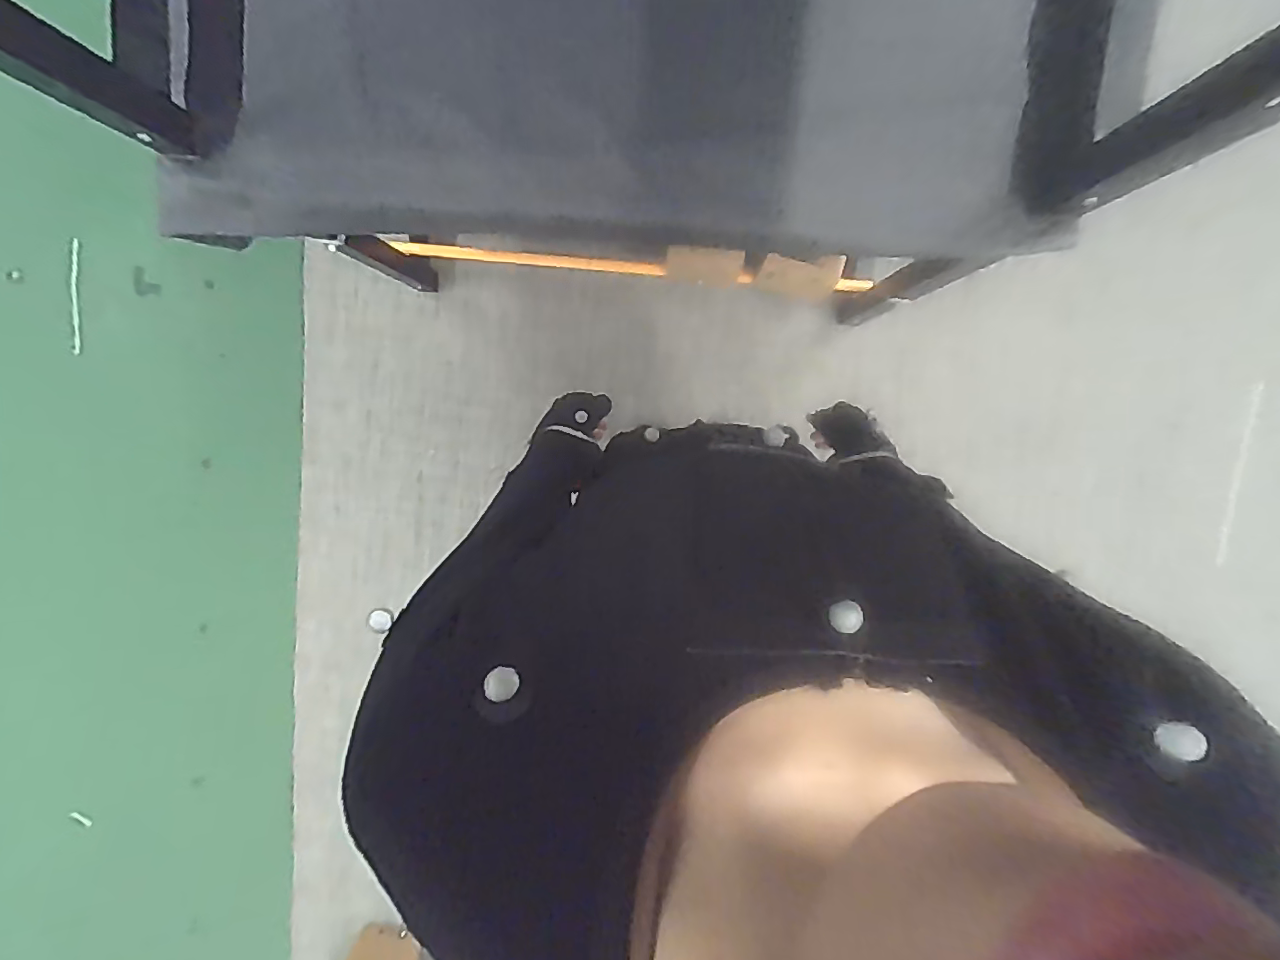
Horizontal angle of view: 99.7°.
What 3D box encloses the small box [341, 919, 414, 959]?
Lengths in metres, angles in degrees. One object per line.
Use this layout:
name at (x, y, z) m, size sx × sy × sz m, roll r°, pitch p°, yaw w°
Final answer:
small box at (-0.802, 1.481, 1.632) m, size 0.168 × 0.176 × 0.179 m, roll 5°, pitch 97°, yaw 3°
